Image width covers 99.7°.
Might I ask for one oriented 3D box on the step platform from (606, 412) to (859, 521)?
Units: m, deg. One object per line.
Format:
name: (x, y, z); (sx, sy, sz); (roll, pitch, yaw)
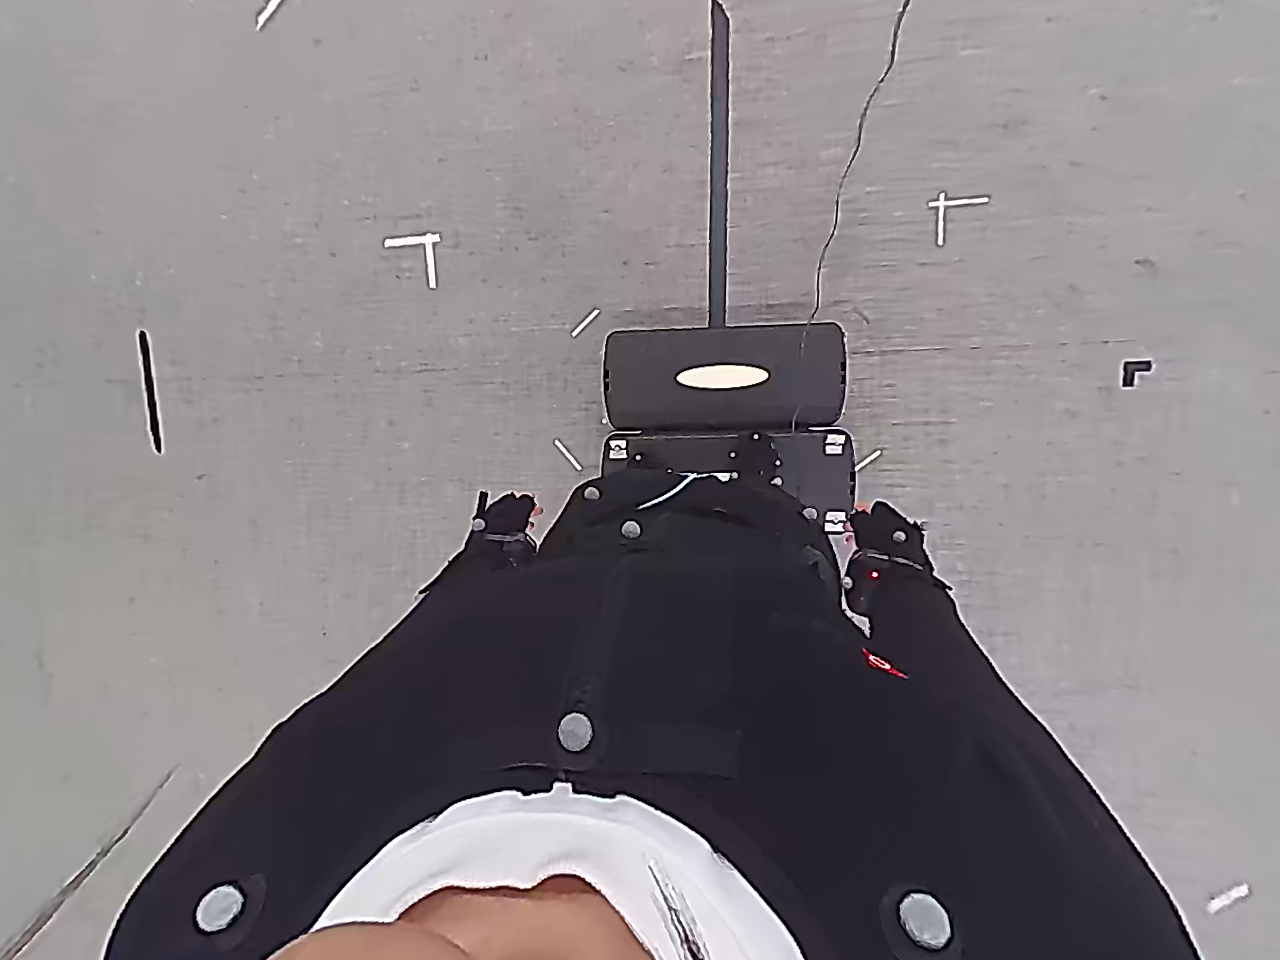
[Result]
step platform: (0.247, -0.035, 1.511); (0.684, 0.204, 0.286); (-1, 96, 7)
